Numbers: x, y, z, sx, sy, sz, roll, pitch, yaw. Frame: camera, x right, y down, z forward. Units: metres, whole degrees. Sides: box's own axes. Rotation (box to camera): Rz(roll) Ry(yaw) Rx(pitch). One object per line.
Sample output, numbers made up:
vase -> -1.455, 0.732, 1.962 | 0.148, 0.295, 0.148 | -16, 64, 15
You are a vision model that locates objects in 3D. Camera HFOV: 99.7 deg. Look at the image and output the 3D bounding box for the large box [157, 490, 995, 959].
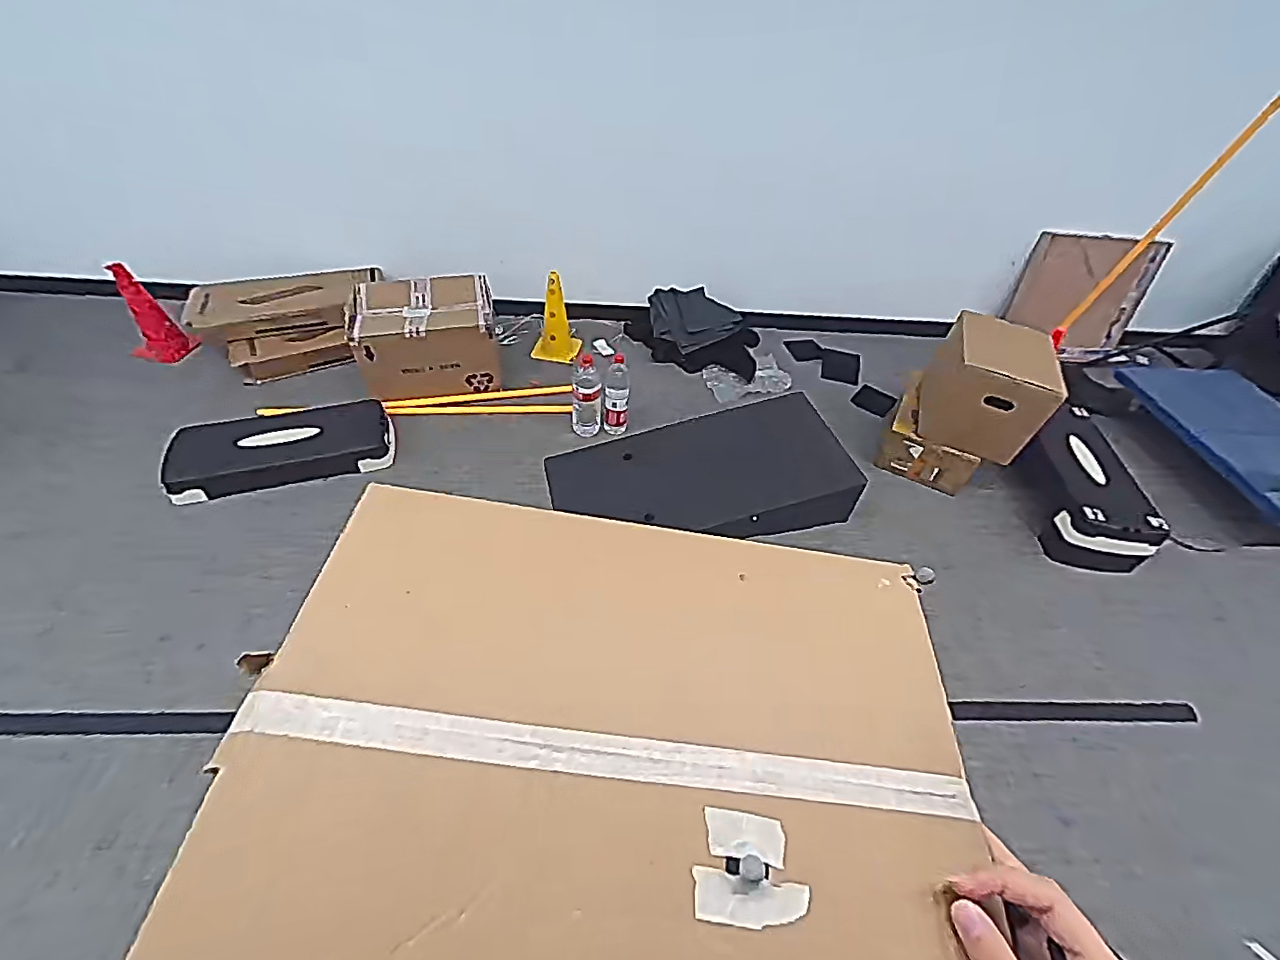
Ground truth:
large box -> -0.030, 0.246, 0.430 | 0.408, 0.320, 0.320 | 10, 52, -4
